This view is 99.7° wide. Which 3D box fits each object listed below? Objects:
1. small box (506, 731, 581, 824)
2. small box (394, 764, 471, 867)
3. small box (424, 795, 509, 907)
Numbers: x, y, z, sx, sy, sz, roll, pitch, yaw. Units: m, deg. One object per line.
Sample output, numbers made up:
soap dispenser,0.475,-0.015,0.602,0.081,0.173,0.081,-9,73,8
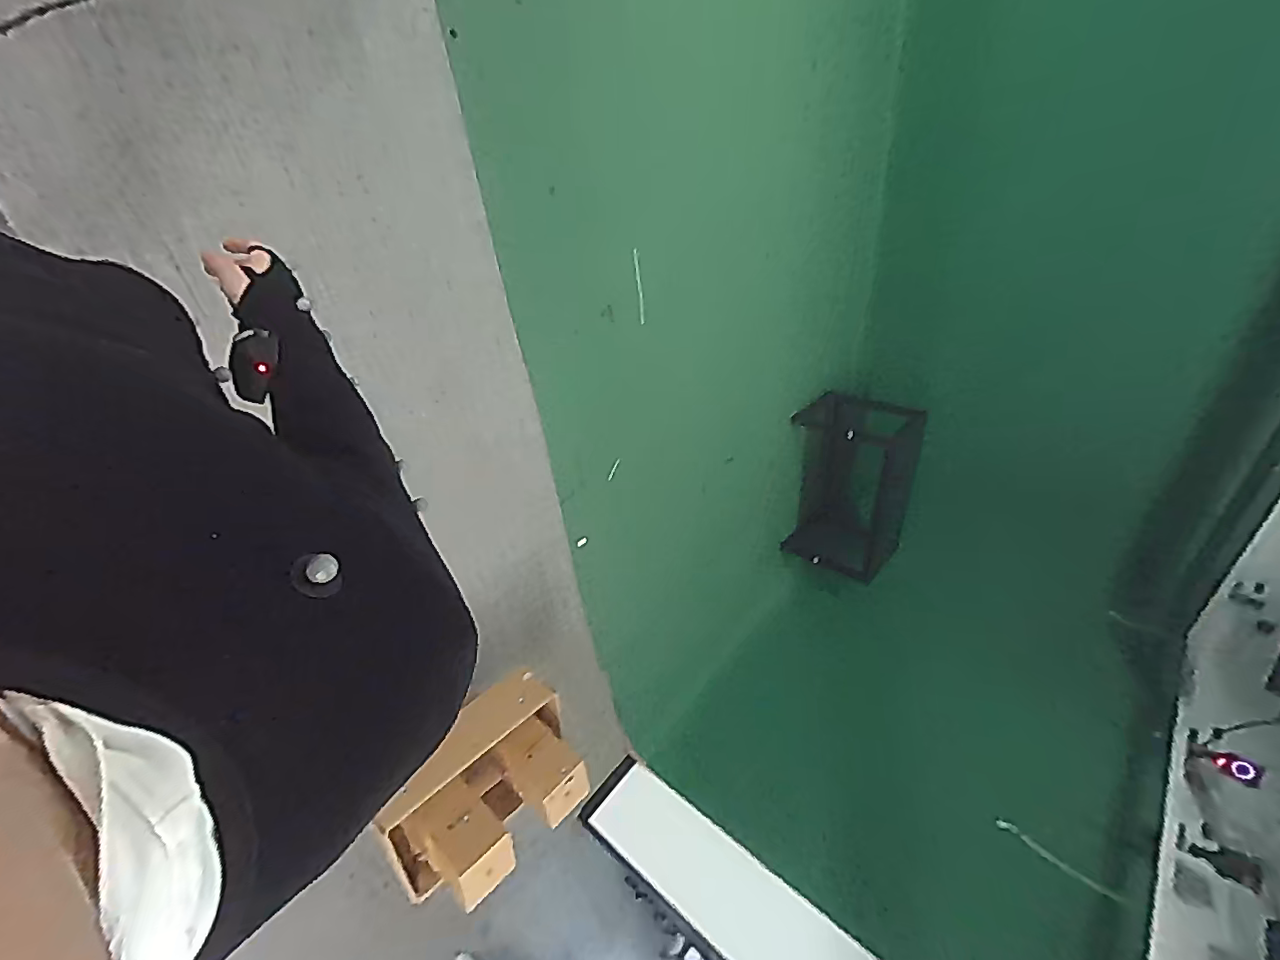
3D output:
small box,-0.315,0.968,1.773,0.168,0.176,0.179,-34,133,-39
small box,-0.634,1.028,1.674,0.168,0.176,0.179,-26,127,-43
small box,-0.508,1.076,1.583,0.168,0.176,0.179,-27,128,-43
